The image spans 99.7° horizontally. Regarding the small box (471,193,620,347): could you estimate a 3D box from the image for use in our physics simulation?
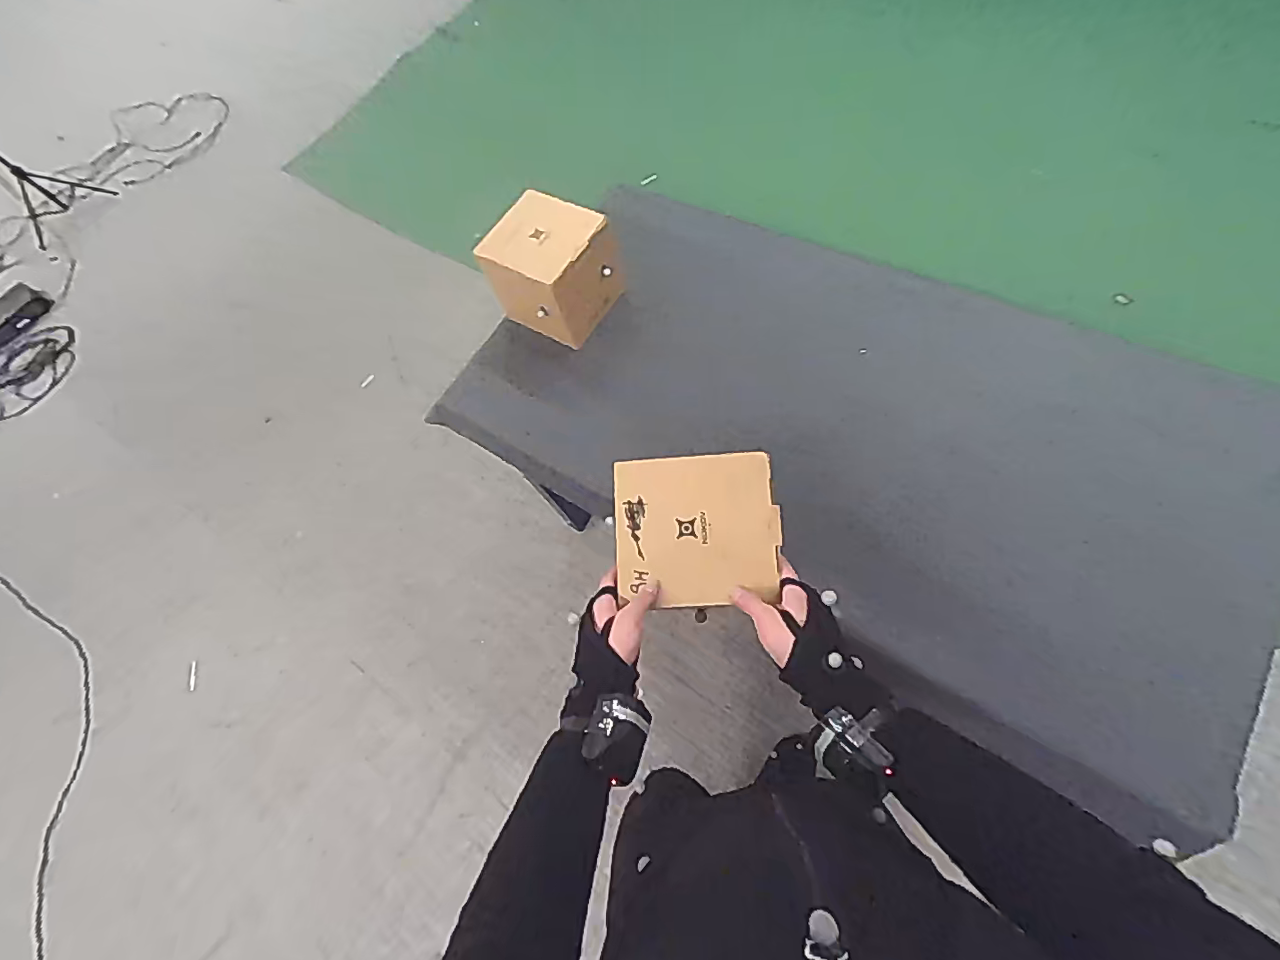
[{"bbox_3d":[-0.154,-0.363,0.956,0.179,0.176,0.168,27,70,20],"label":"small box"}]

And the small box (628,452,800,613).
[{"bbox_3d":[0.078,0.070,0.647,0.179,0.176,0.168,-2,74,3],"label":"small box"}]
